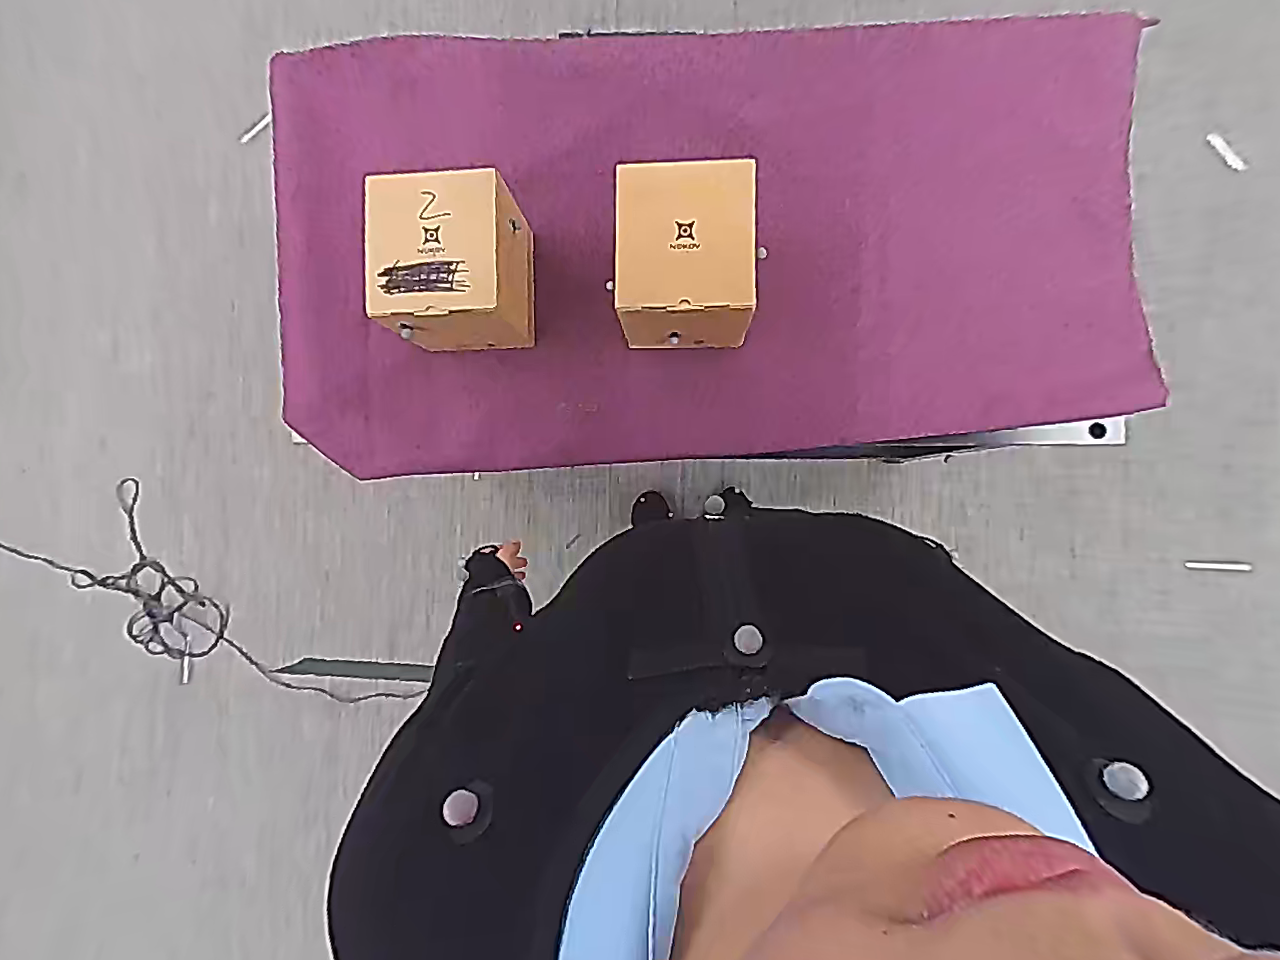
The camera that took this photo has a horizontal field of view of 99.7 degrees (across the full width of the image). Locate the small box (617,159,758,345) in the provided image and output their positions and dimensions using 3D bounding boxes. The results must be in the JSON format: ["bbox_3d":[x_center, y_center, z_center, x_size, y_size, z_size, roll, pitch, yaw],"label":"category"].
[{"bbox_3d":[0.060,-0.286,0.711,0.168,0.176,0.179,0,89,4],"label":"small box"}]
